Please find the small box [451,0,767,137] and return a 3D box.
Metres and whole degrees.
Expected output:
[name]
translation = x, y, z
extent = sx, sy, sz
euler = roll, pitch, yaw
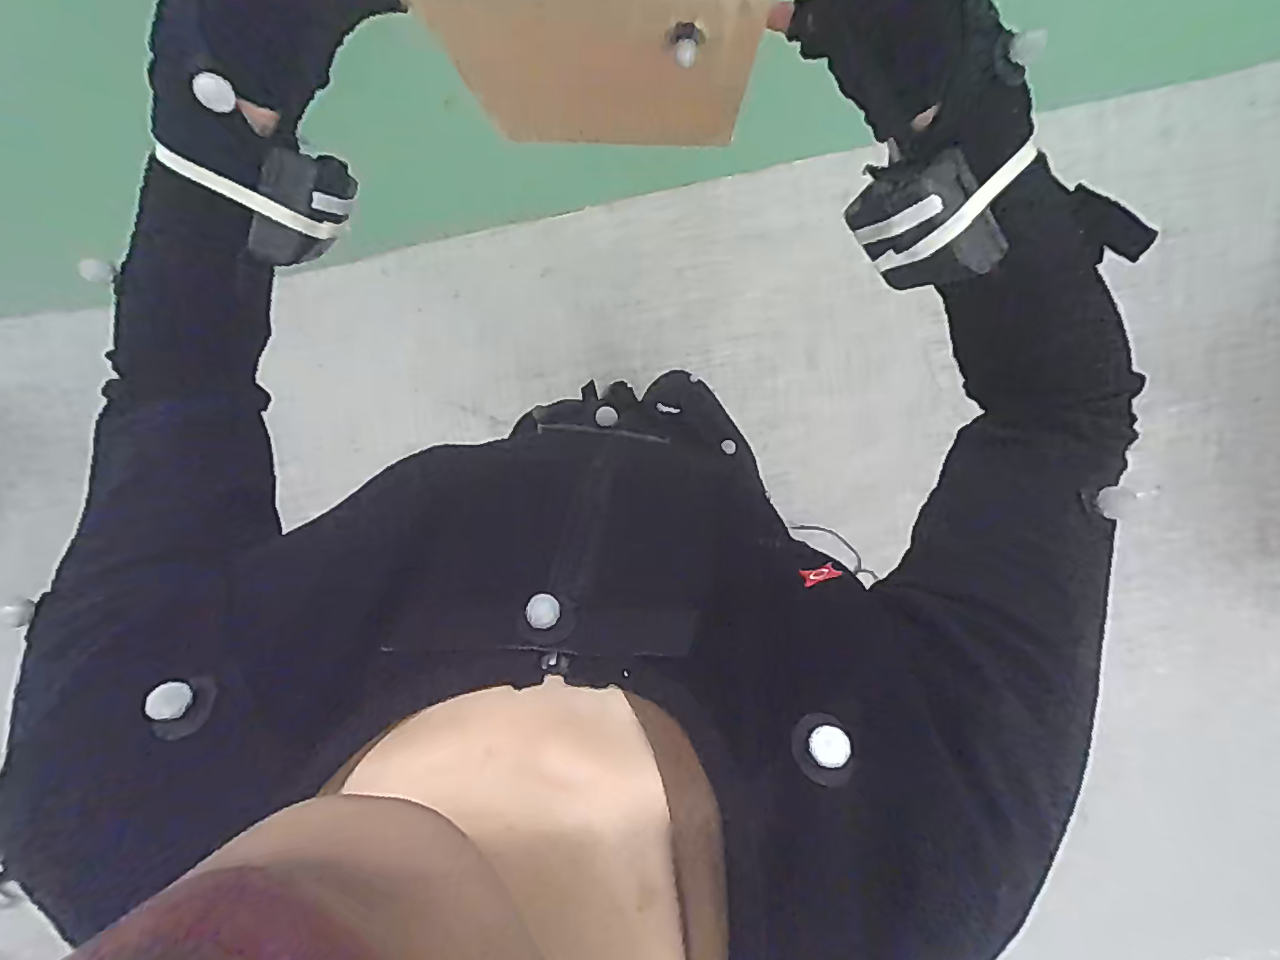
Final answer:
[small box]
translation = -0.014, -0.327, 0.318
extent = 0.179, 0.176, 0.168
euler = 2, 101, 0
